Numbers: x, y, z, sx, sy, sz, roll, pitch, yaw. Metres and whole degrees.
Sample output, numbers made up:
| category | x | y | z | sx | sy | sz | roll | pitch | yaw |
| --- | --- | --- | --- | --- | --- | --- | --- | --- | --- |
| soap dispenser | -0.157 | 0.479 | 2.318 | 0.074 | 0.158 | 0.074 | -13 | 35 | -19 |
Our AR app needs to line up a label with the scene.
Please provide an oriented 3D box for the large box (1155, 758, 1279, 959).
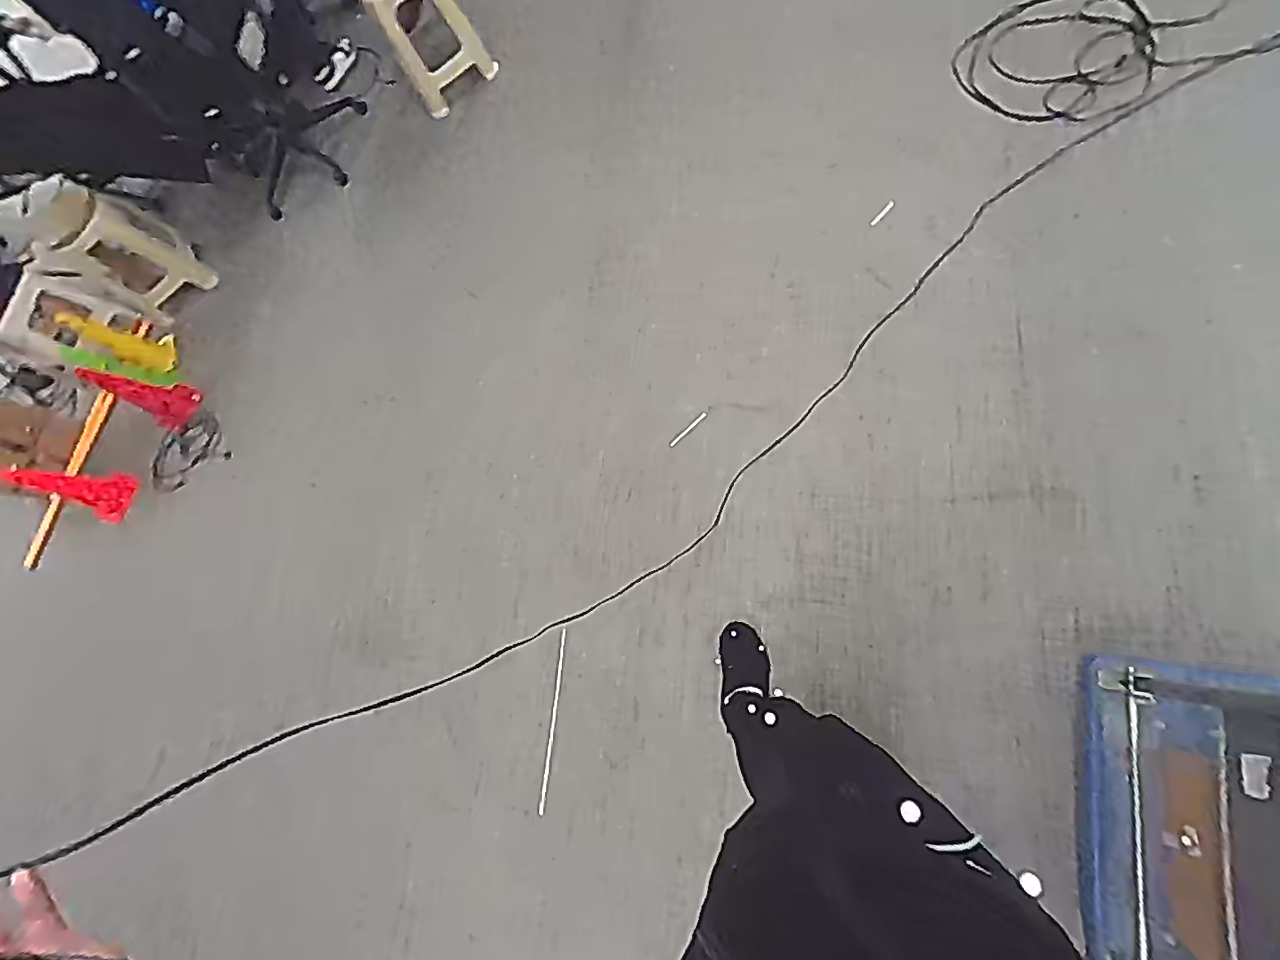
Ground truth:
| category | x | y | z | sx | sy | sz | roll | pitch | yaw |
| --- | --- | --- | --- | --- | --- | --- | --- | --- | --- |
| large box | 1.076 | 0.621 | 0.766 | 0.408 | 0.320 | 0.320 | 4 | 75 | 18 |
